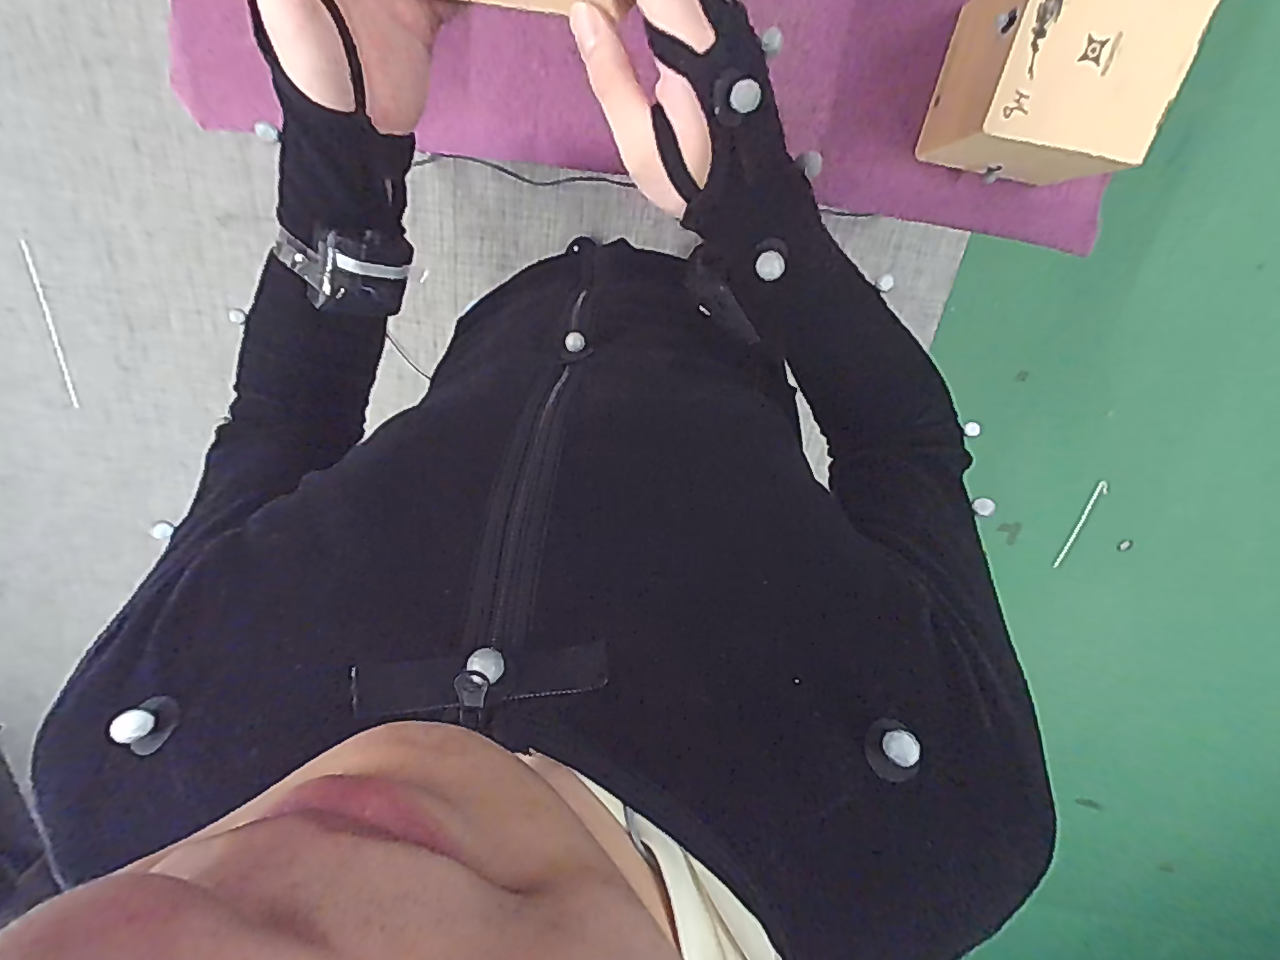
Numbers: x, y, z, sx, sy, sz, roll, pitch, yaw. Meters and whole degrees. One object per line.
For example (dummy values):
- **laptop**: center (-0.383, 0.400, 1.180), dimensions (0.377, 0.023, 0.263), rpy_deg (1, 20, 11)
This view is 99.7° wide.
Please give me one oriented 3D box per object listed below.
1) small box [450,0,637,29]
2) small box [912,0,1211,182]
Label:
- **small box**: center (-0.044, -0.346, 0.229), dimensions (0.168, 0.176, 0.179), rpy_deg (30, 77, 24)
- **small box**: center (0.448, -0.447, 0.606), dimensions (0.179, 0.176, 0.168), rpy_deg (10, 112, -2)
